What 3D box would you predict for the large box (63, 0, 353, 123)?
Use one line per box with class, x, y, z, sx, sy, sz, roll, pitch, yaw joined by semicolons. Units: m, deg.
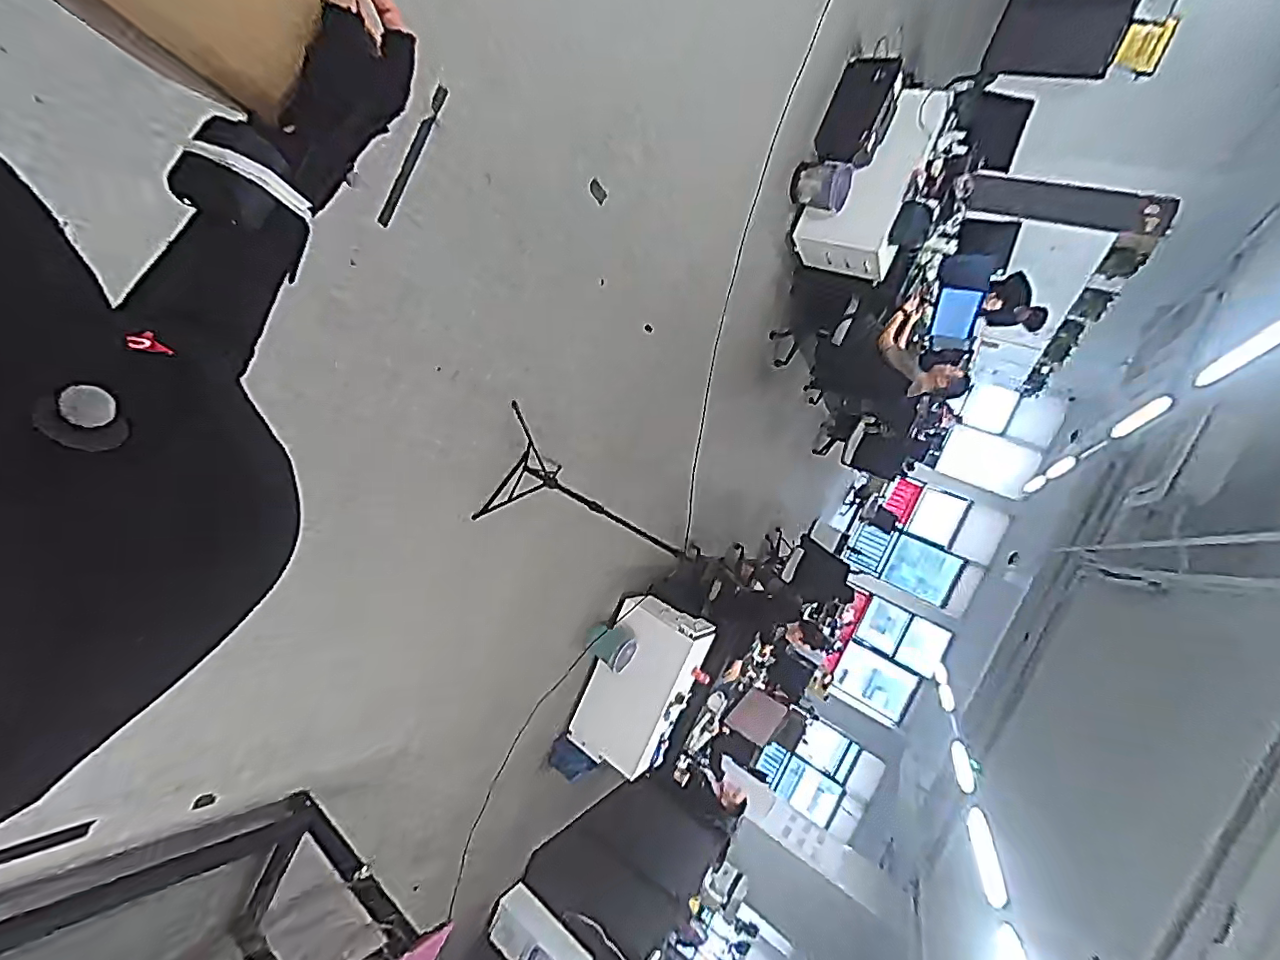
large box;-0.401;-0.524;0.320;0.320;0.320;0.408;-56;152;4
